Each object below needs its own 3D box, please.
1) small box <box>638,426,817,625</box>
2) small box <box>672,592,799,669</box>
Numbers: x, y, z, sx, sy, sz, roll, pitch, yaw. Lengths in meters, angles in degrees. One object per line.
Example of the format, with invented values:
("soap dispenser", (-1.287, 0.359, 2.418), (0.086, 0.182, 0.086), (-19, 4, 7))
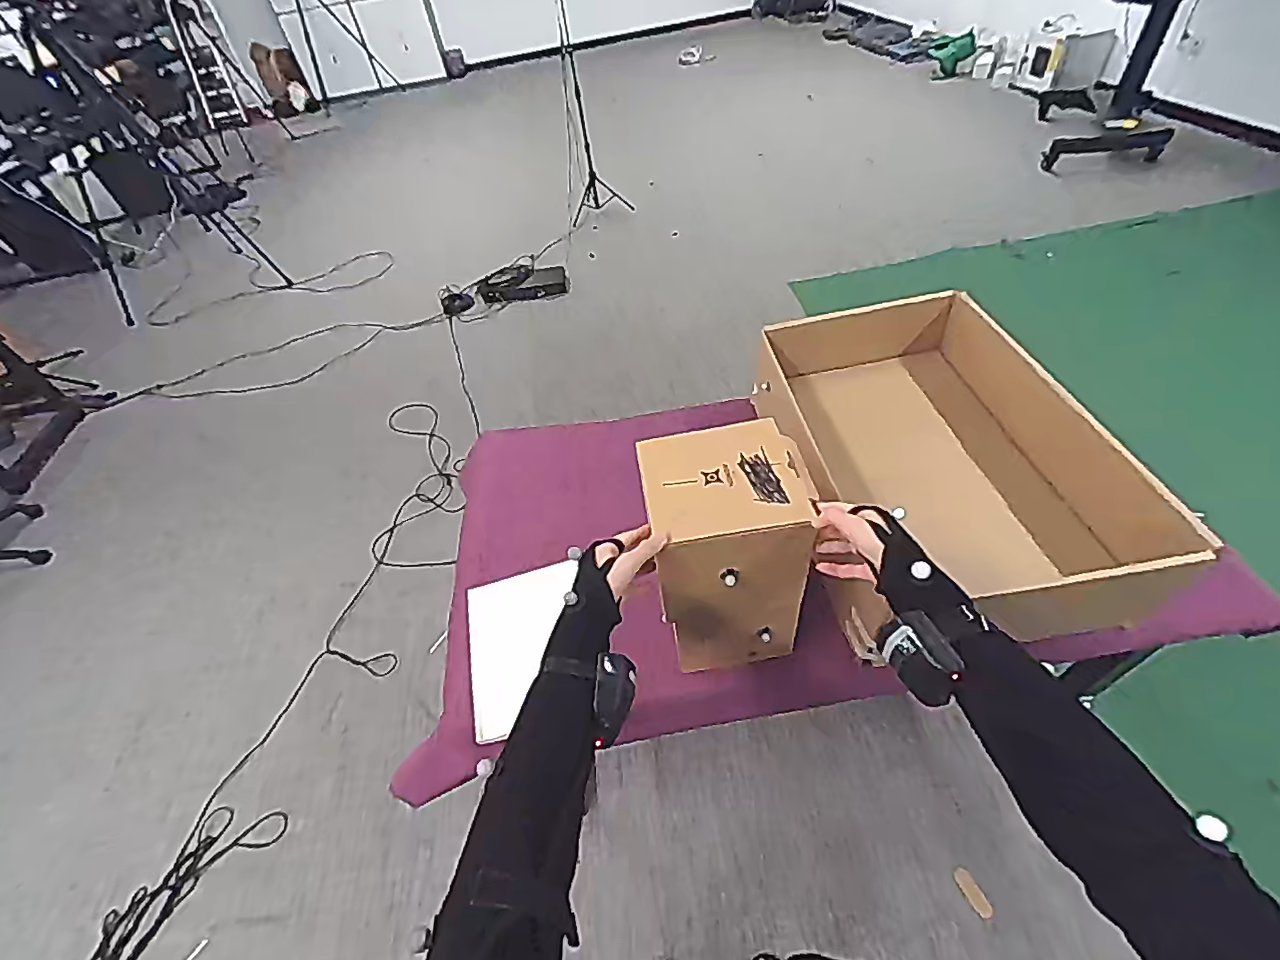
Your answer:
("small box", (0.099, 0.059, 0.670), (0.179, 0.176, 0.168), (-10, 46, 1))
("small box", (0.124, 0.161, 0.795), (0.168, 0.176, 0.179), (-9, 45, 0))
